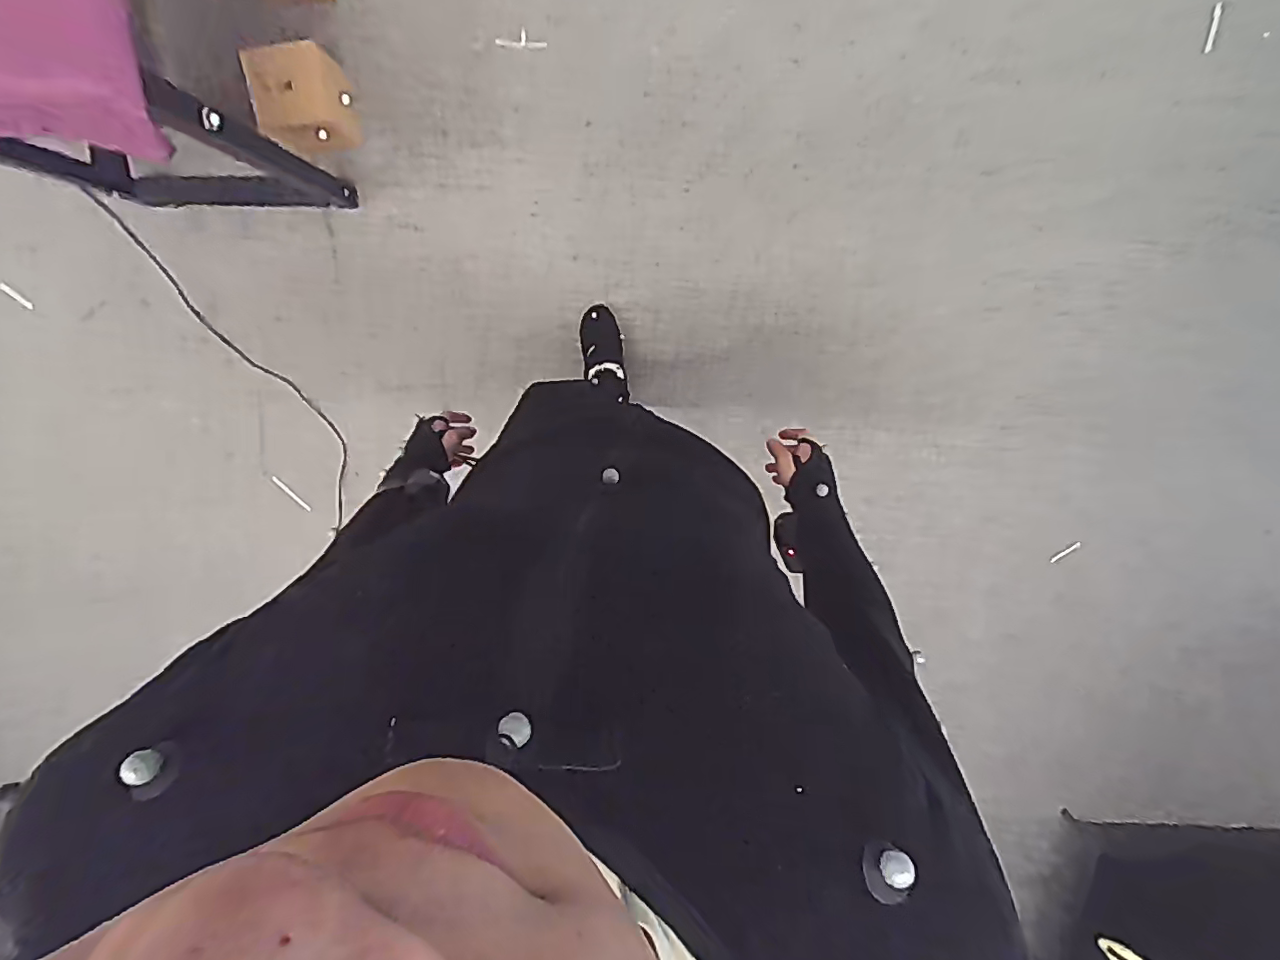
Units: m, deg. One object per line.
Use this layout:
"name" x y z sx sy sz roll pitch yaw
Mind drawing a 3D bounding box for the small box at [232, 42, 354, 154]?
"small box" -0.822 -0.914 1.307 0.179 0.176 0.168 -7 104 1
